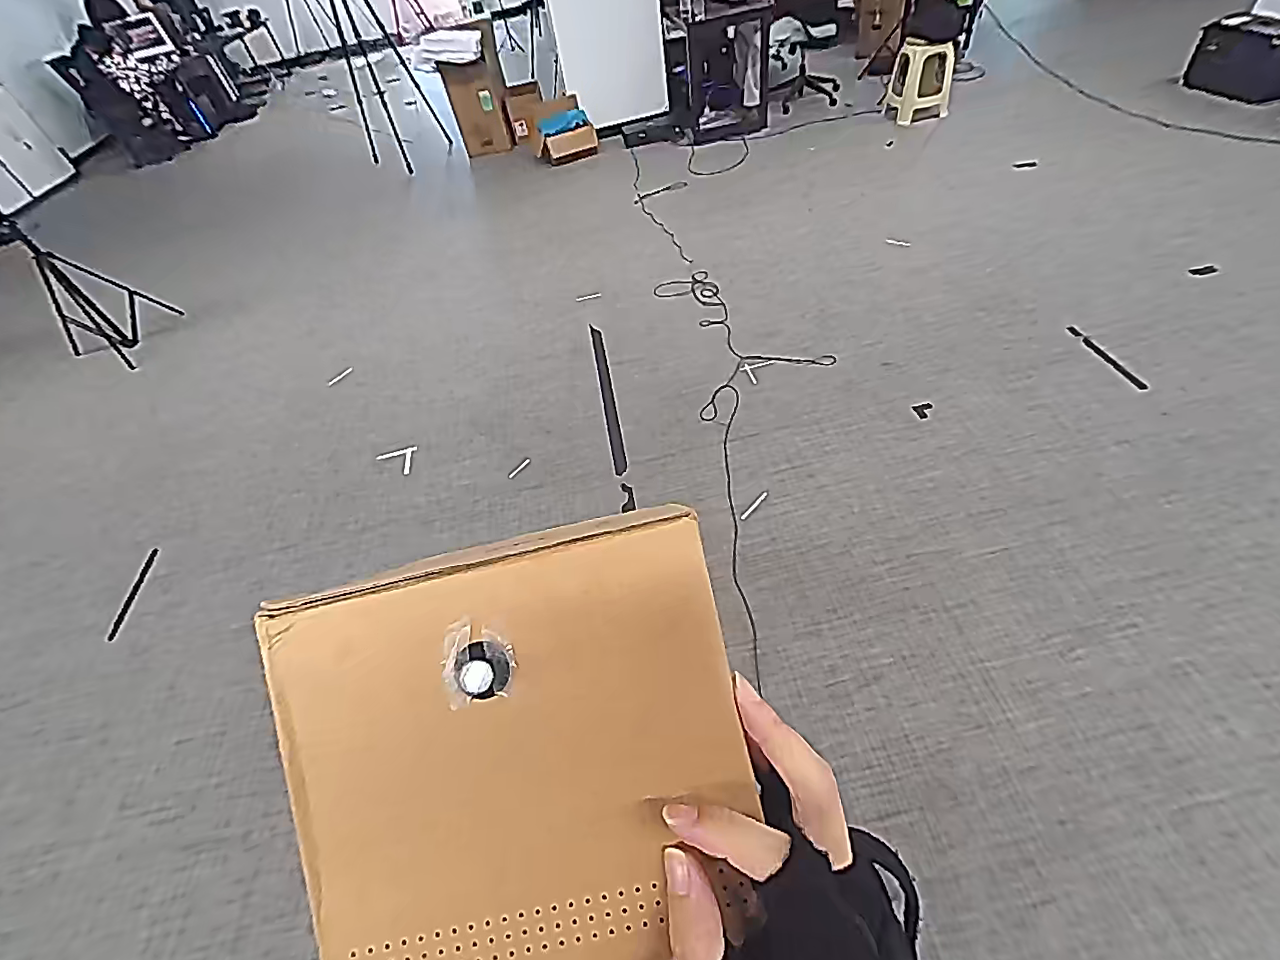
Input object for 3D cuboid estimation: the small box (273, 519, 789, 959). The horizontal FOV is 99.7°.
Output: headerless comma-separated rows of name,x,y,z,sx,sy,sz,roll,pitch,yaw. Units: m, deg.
small box,-0.041,0.122,0.284,0.179,0.168,0.176,-12,88,1
